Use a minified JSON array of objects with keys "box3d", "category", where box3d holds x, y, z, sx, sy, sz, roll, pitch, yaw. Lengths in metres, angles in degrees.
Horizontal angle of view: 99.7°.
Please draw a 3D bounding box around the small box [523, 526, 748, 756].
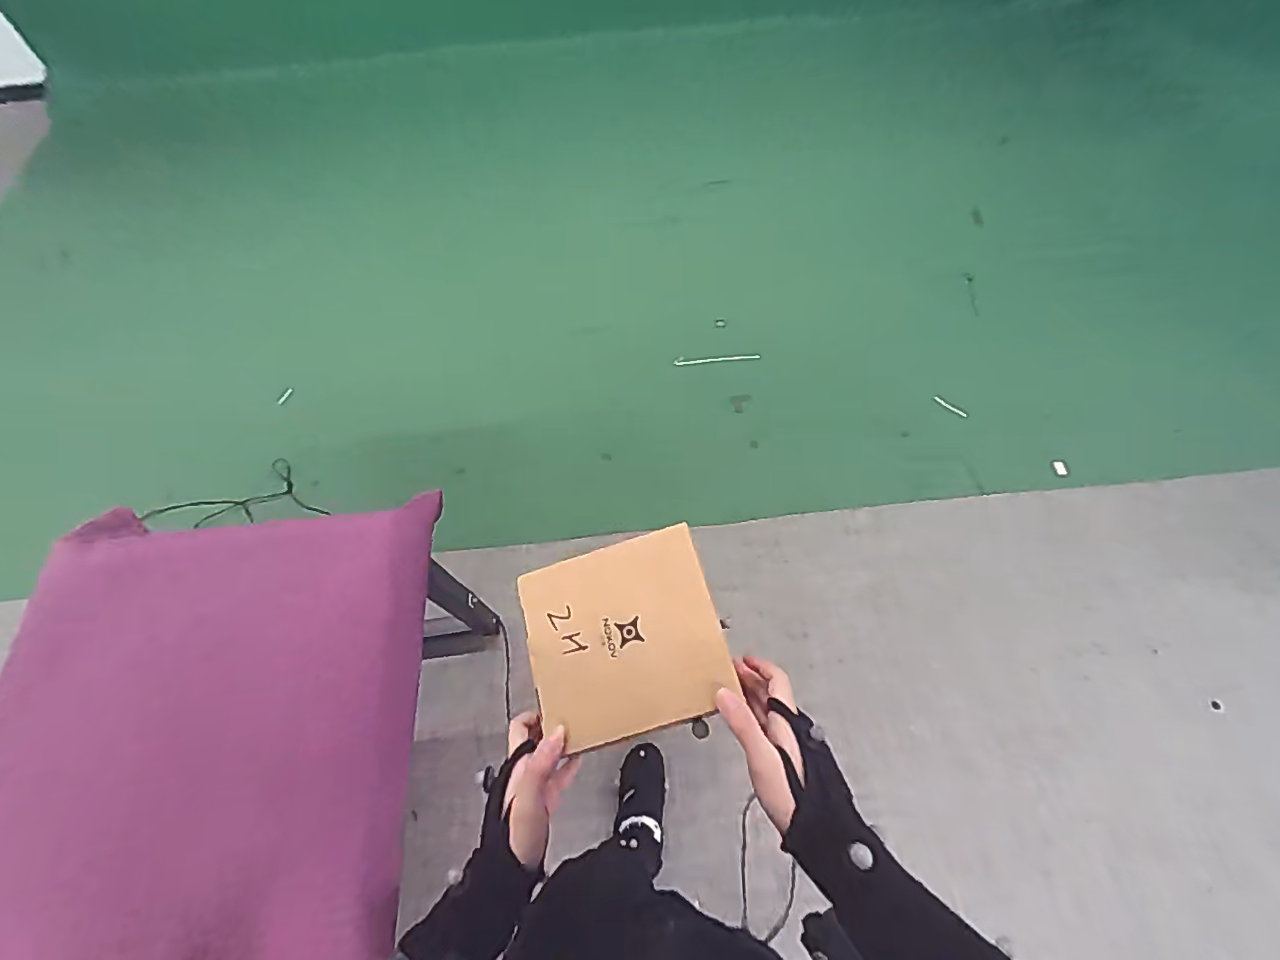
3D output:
[{"box3d":[0.002,0.170,0.557,0.179,0.176,0.168,-18,63,4],"category":"small box"}]
